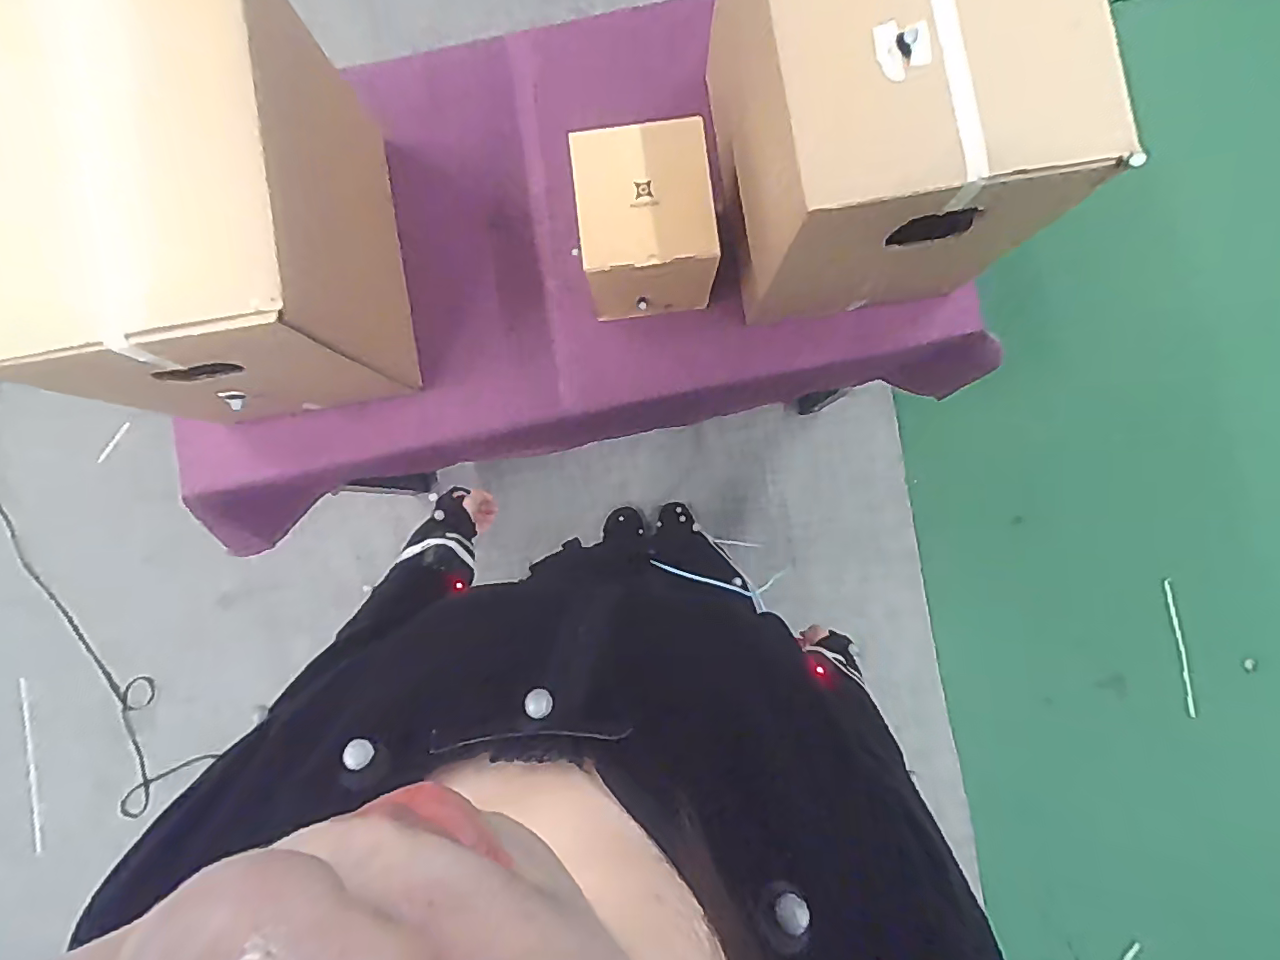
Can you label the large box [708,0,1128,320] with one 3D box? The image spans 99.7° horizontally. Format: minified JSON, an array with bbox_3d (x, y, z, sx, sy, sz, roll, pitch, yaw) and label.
[{"bbox_3d":[0.285,-0.460,0.671,0.320,0.320,0.408,-8,87,0],"label":"large box"}]
